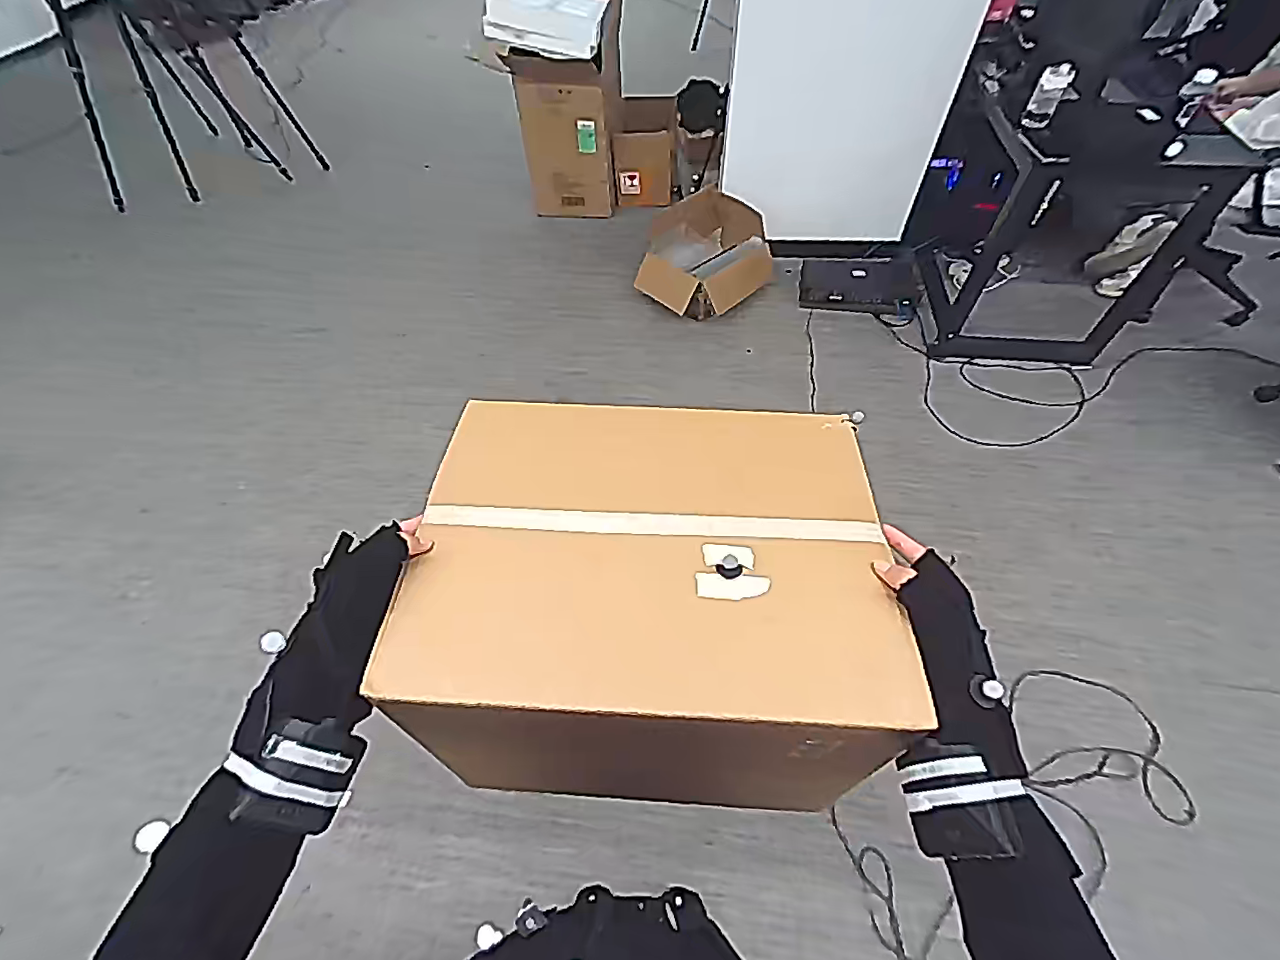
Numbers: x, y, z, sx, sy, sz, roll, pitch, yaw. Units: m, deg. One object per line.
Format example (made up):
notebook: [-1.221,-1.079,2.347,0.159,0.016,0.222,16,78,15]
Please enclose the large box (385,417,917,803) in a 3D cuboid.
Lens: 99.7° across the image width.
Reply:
large box: [0.010,0.149,0.605,0.408,0.320,0.320,3,50,2]
